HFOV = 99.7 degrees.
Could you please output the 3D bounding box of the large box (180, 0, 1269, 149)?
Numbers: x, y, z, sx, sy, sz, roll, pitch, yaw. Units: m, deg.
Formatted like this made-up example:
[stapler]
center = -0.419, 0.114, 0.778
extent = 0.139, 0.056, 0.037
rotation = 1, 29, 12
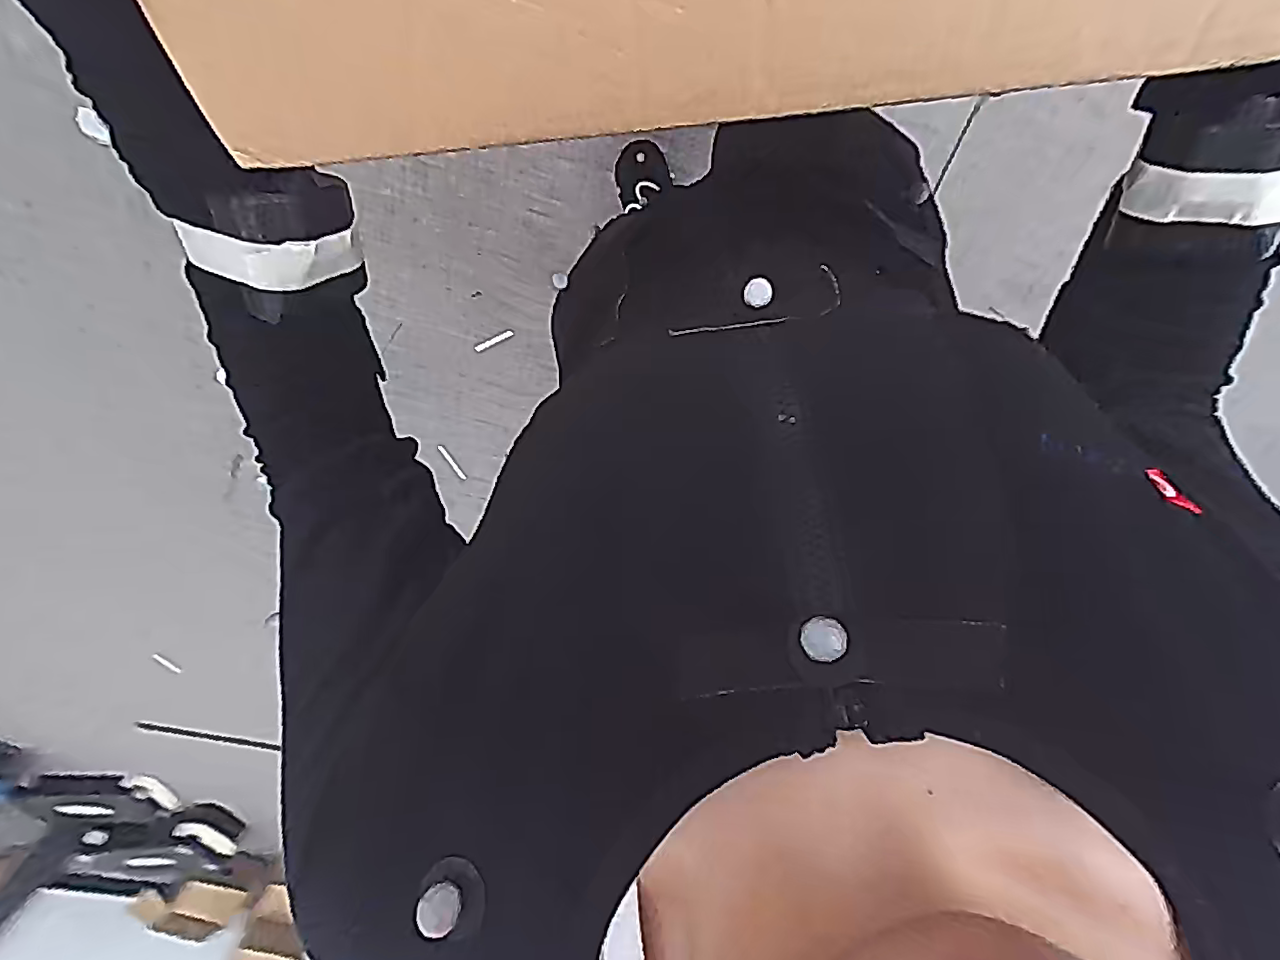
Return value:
[large box]
center = 0.024, -0.365, 0.201
extent = 0.408, 0.320, 0.320
rotation = -3, 138, 2
